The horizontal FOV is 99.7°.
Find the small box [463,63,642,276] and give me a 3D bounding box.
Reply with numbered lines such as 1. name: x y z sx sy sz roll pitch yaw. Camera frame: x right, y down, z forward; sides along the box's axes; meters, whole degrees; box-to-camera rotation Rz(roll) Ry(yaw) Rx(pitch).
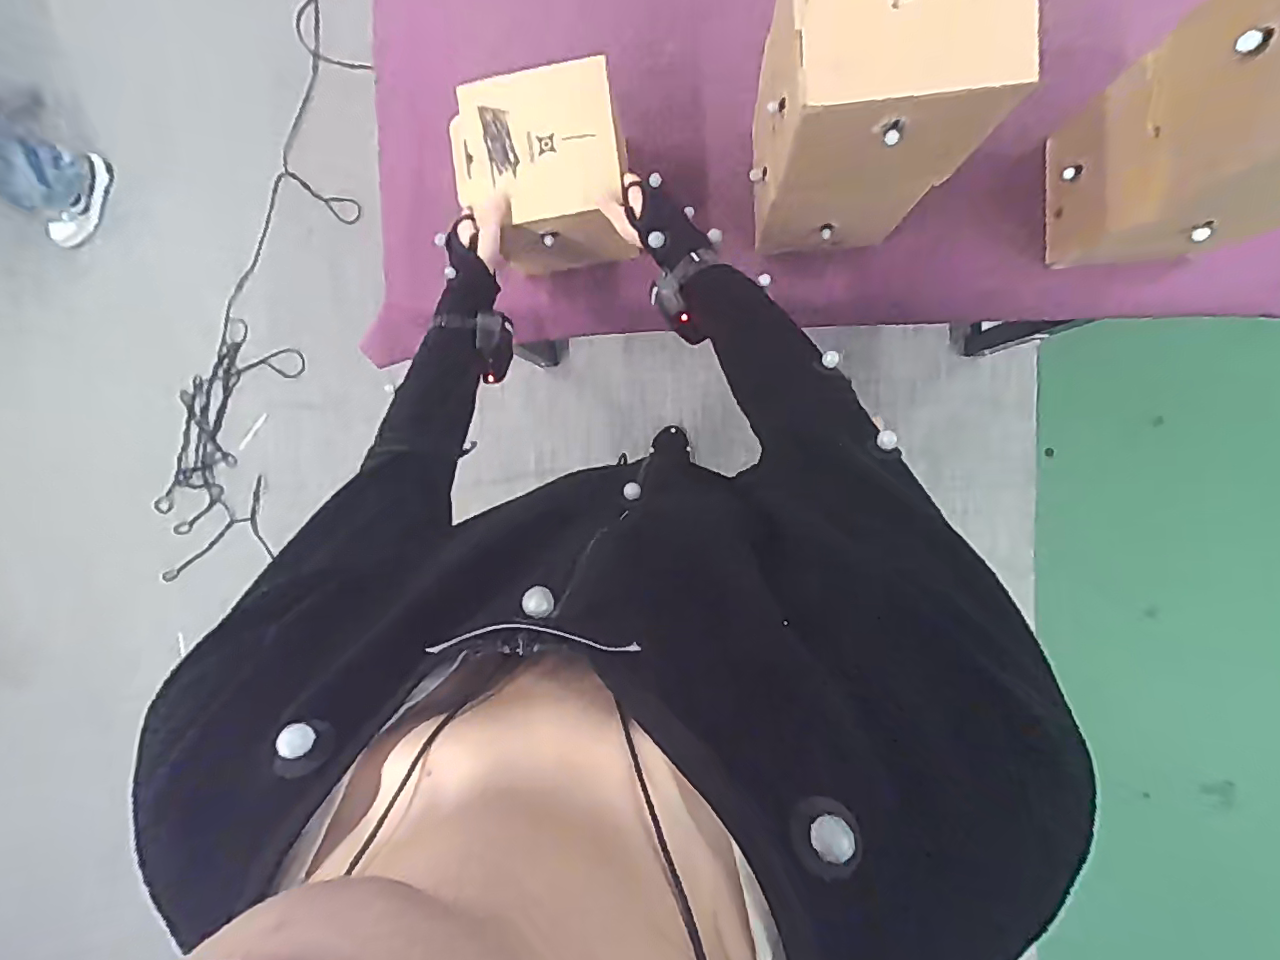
1. small box: -0.101 -0.379 0.696 0.179 0.176 0.168 -7 92 7

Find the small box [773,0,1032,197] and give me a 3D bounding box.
1. small box: 0.215 -0.379 0.490 0.179 0.176 0.168 -2 94 7

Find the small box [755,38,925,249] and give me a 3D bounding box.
1. small box: 0.230 -0.394 0.653 0.168 0.176 0.179 -2 93 7

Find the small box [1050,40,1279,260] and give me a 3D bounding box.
1. small box: 0.607 -0.361 0.606 0.179 0.176 0.168 -3 94 9
